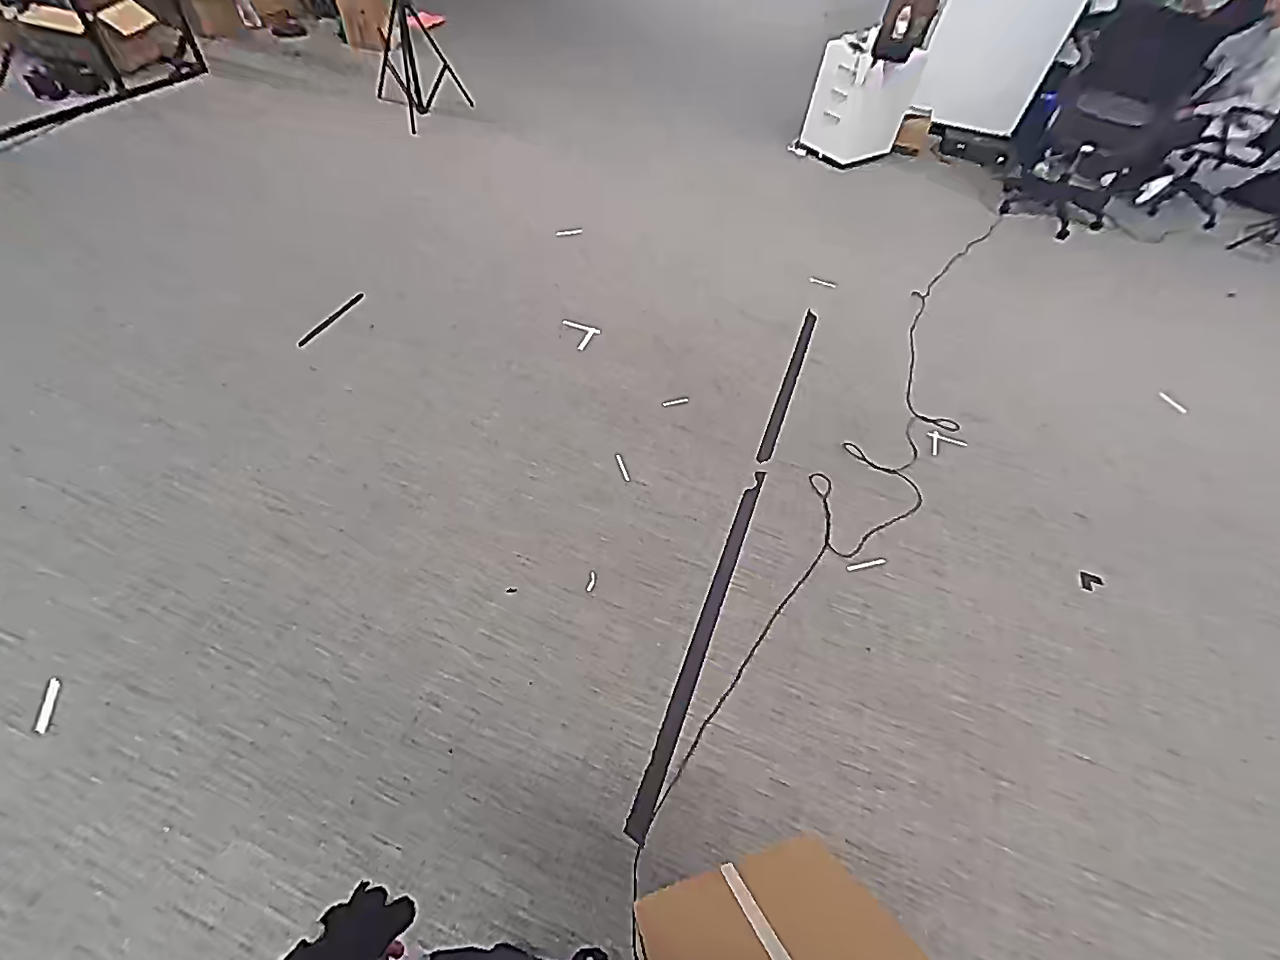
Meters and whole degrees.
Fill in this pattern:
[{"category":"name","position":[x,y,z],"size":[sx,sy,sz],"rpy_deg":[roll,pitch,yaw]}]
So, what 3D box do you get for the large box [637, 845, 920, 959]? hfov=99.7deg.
[{"category":"large box","position":[0.211,0.756,0.658],"size":[0.320,0.408,0.320],"rpy_deg":[-12,88,-12]}]
